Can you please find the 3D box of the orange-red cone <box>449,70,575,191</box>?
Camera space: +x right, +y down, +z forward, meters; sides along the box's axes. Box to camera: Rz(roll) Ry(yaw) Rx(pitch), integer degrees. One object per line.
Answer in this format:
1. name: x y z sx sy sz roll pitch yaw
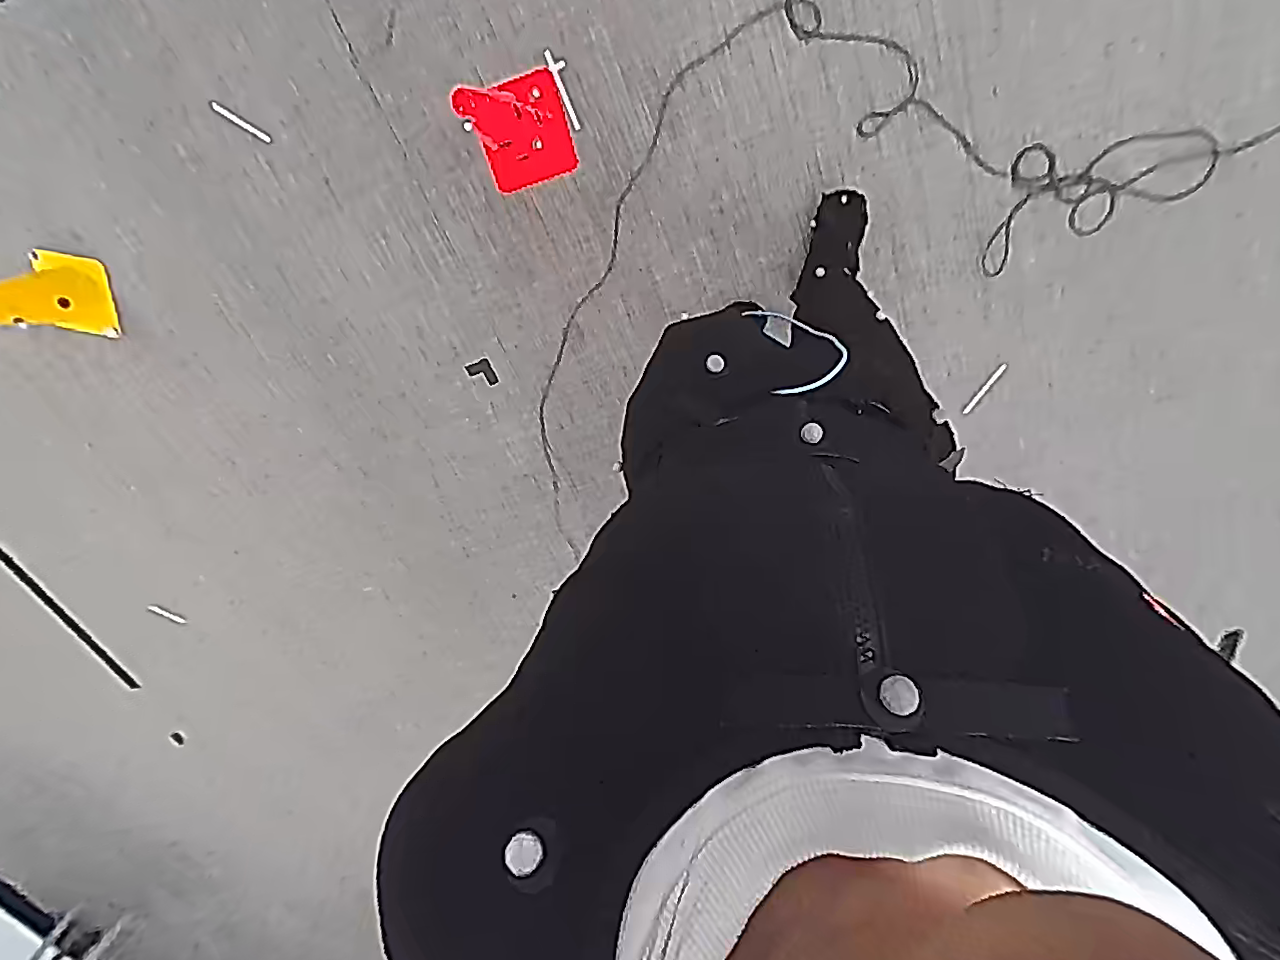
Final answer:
1. orange-red cone: -0.273 -0.688 1.028 0.199 0.360 0.198 -11 113 12
